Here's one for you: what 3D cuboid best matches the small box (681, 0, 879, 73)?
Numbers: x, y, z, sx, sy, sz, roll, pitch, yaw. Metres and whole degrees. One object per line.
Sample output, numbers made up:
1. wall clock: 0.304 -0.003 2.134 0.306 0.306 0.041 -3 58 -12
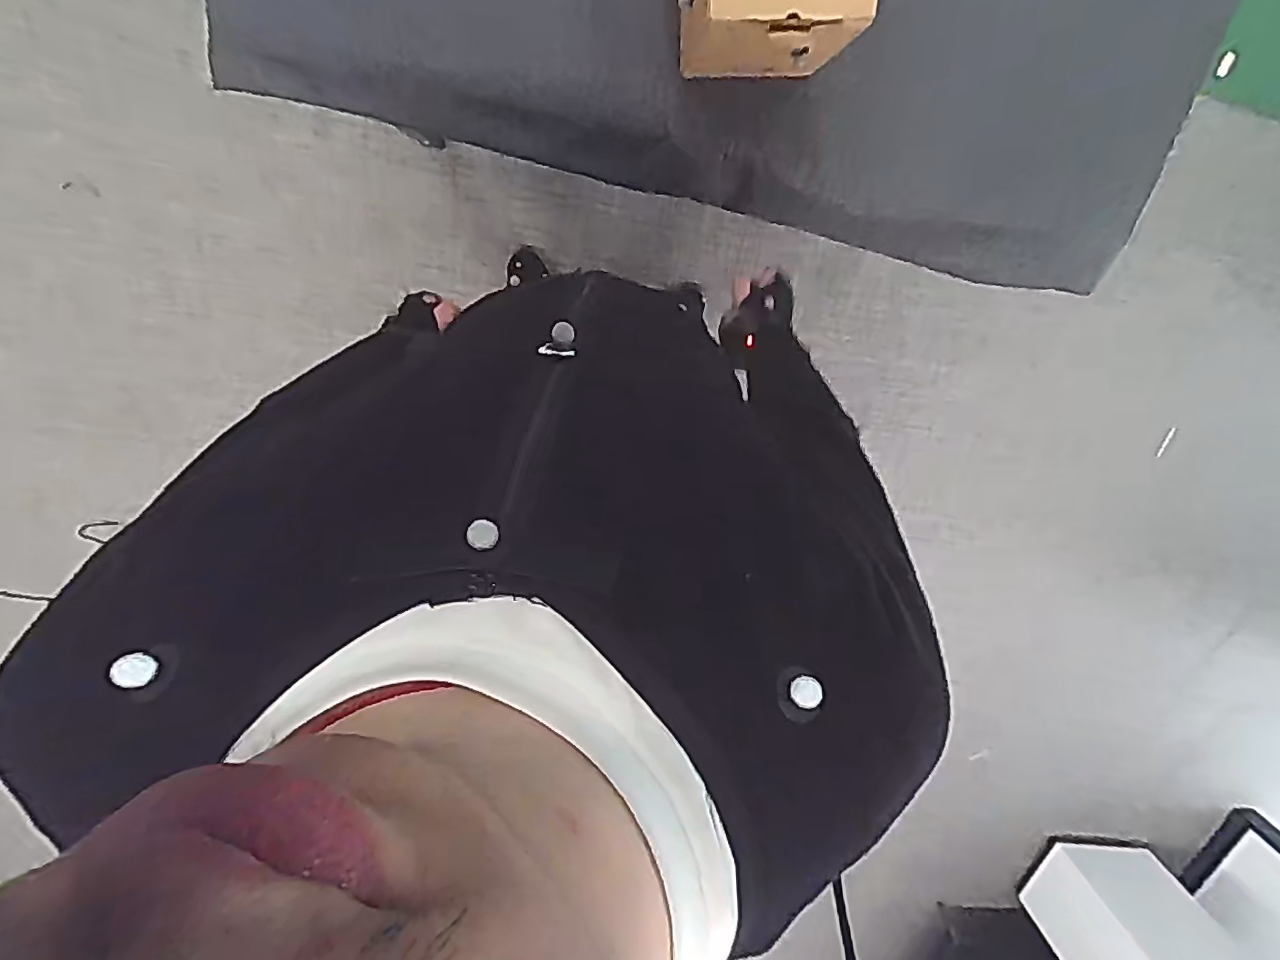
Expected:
1. small box: 0.138 -0.547 0.560 0.168 0.176 0.179 -5 112 -5
